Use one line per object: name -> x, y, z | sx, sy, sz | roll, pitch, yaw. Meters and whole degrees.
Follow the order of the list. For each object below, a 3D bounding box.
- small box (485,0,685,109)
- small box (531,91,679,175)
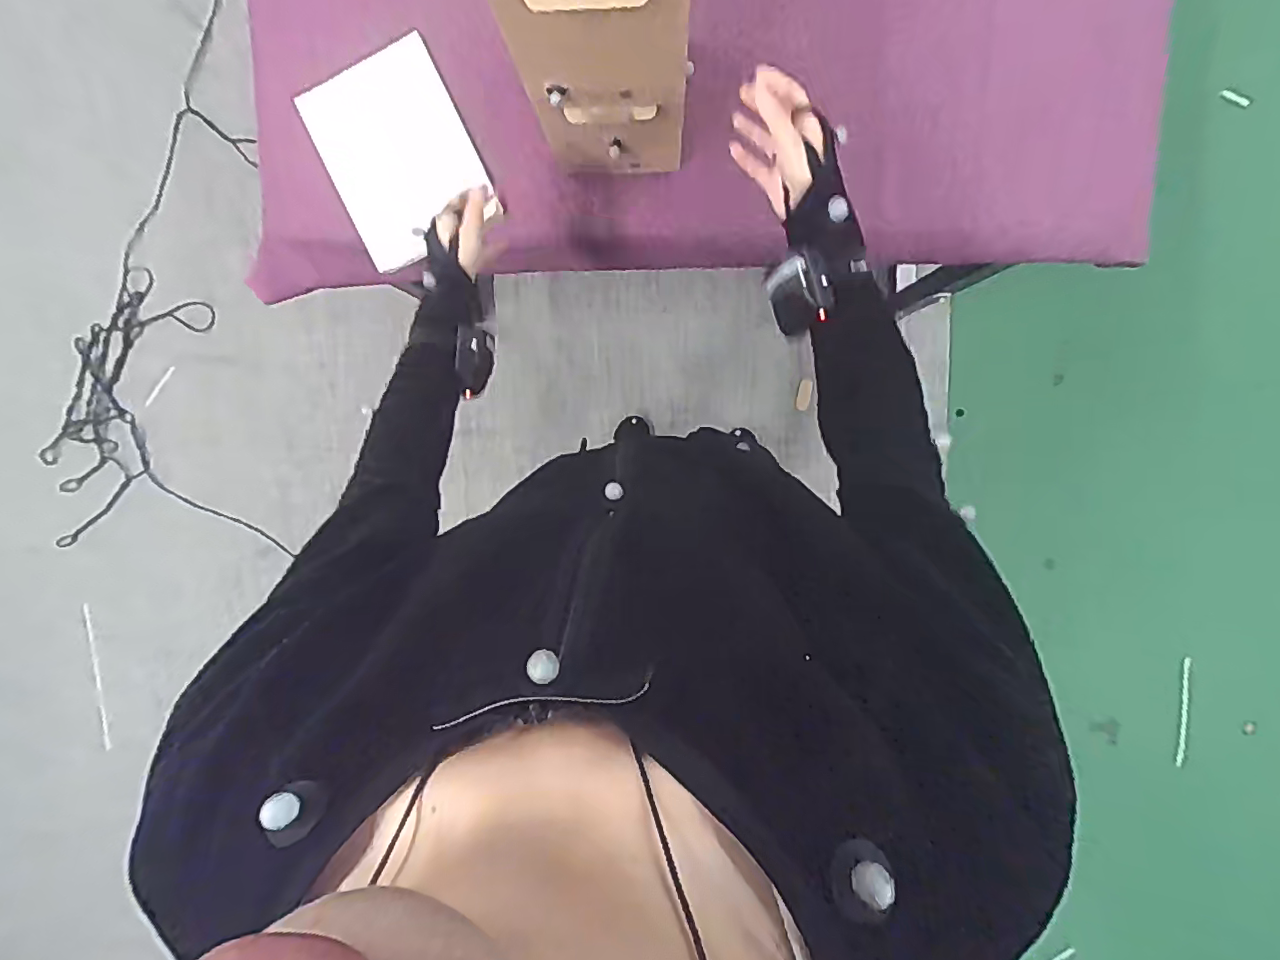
small box -> -0.040, -0.477, 0.498 | 0.168, 0.176, 0.179 | 0, 93, 2
small box -> -0.034, -0.497, 0.663 | 0.168, 0.176, 0.179 | 0, 95, 2
